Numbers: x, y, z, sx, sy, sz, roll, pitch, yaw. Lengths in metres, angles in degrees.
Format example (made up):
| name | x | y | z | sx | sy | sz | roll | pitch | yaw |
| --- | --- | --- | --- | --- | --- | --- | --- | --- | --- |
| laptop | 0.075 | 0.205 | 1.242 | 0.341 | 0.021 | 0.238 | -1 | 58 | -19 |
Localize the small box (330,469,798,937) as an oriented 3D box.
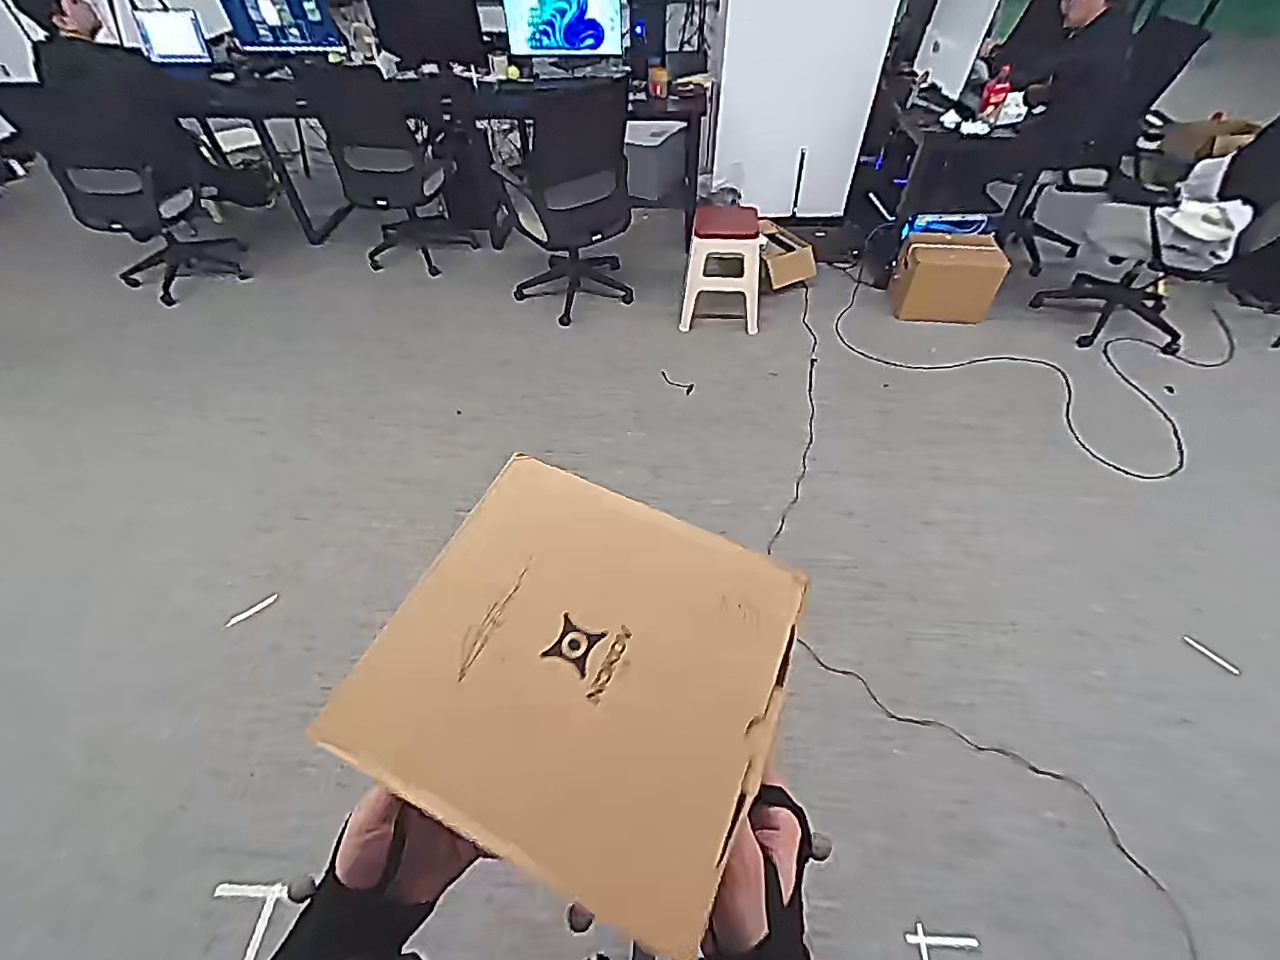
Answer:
| name | x | y | z | sx | sy | sz | roll | pitch | yaw |
| --- | --- | --- | --- | --- | --- | --- | --- | --- | --- |
| small box | -0.029 | 0.128 | 0.327 | 0.179 | 0.176 | 0.168 | 20 | 55 | 12 |
